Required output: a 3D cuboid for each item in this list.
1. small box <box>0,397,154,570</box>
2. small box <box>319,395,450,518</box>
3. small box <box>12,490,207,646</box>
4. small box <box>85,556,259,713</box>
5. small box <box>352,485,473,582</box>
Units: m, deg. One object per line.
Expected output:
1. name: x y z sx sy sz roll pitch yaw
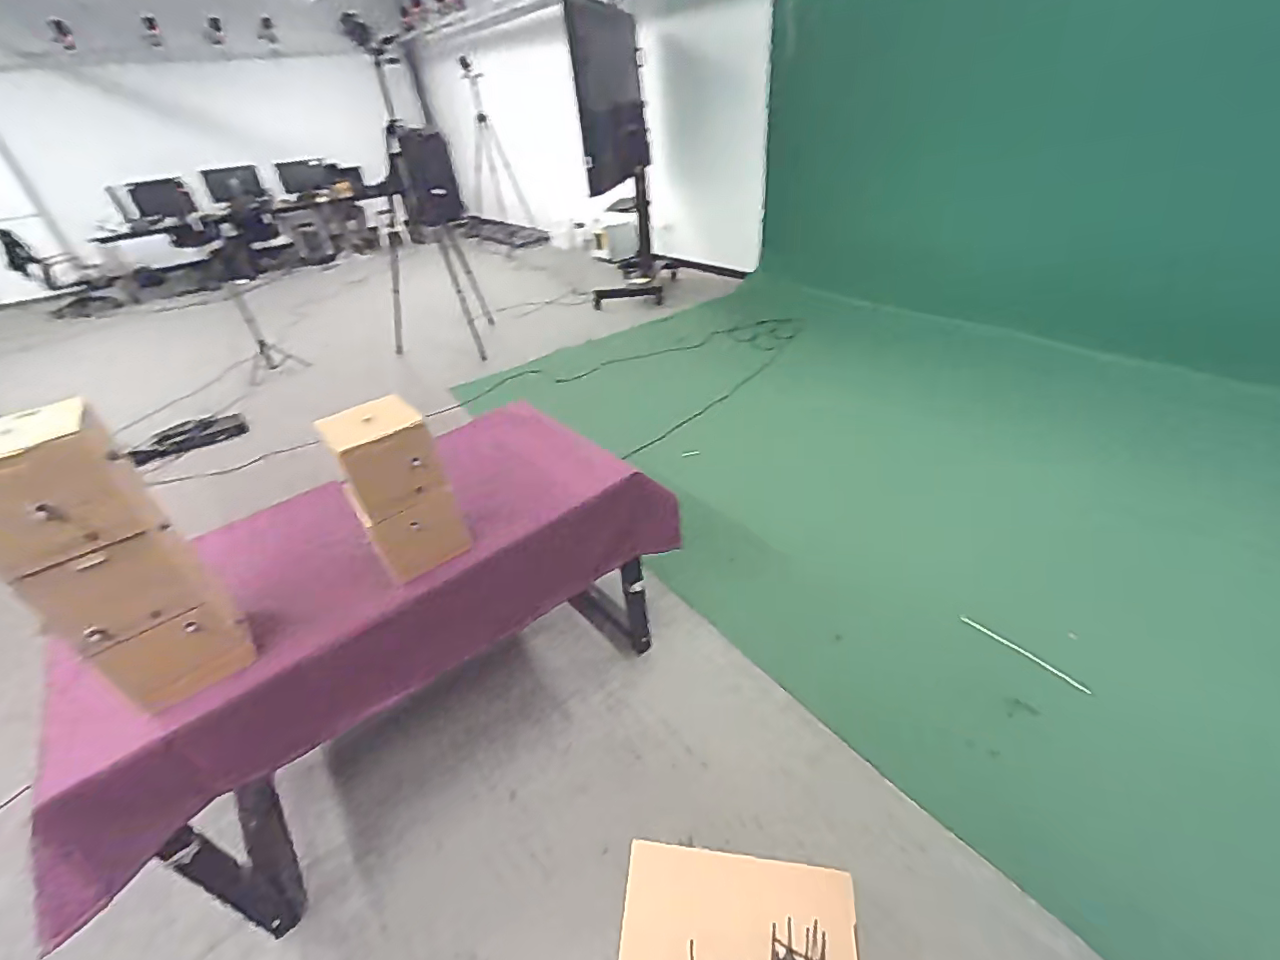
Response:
1. small box: -0.851 0.006 0.785 0.168 0.176 0.179 -28 41 -30
2. small box: -0.509 -0.045 1.092 0.168 0.176 0.179 -29 40 -30
3. small box: -0.846 0.141 0.881 0.168 0.176 0.179 -28 39 -30
4. small box: -0.832 0.276 0.972 0.179 0.176 0.168 -28 40 -30
5. small box: -0.491 0.090 1.182 0.179 0.176 0.168 -28 41 -28
